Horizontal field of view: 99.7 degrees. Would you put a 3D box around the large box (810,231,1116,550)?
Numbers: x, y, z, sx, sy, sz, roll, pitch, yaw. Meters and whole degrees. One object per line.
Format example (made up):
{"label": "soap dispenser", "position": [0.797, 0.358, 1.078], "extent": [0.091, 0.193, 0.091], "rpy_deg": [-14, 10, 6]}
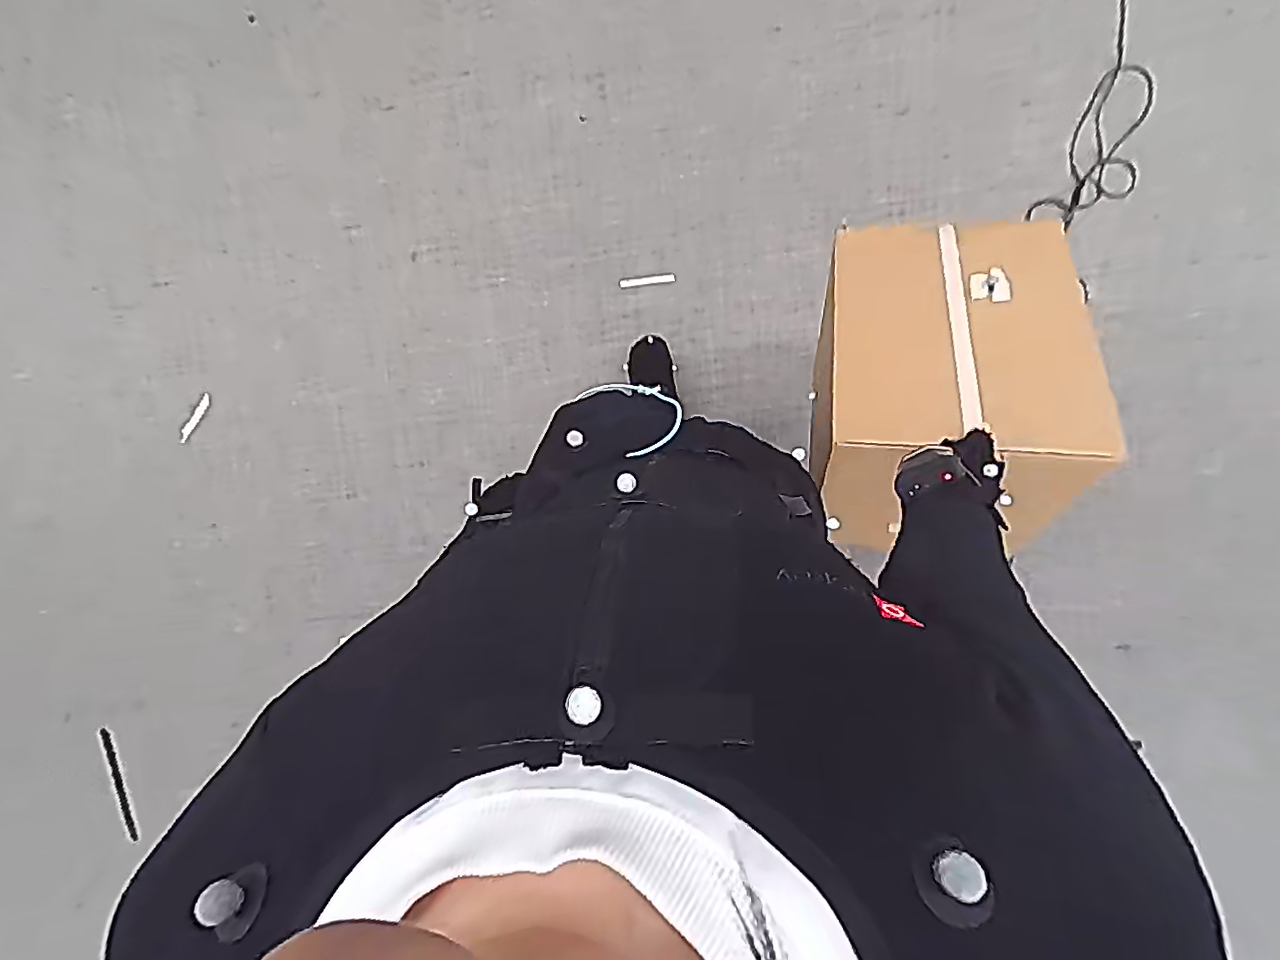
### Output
{"label": "large box", "position": [0.449, -0.135, 0.870], "extent": [0.320, 0.320, 0.408], "rpy_deg": [4, 60, 11]}
